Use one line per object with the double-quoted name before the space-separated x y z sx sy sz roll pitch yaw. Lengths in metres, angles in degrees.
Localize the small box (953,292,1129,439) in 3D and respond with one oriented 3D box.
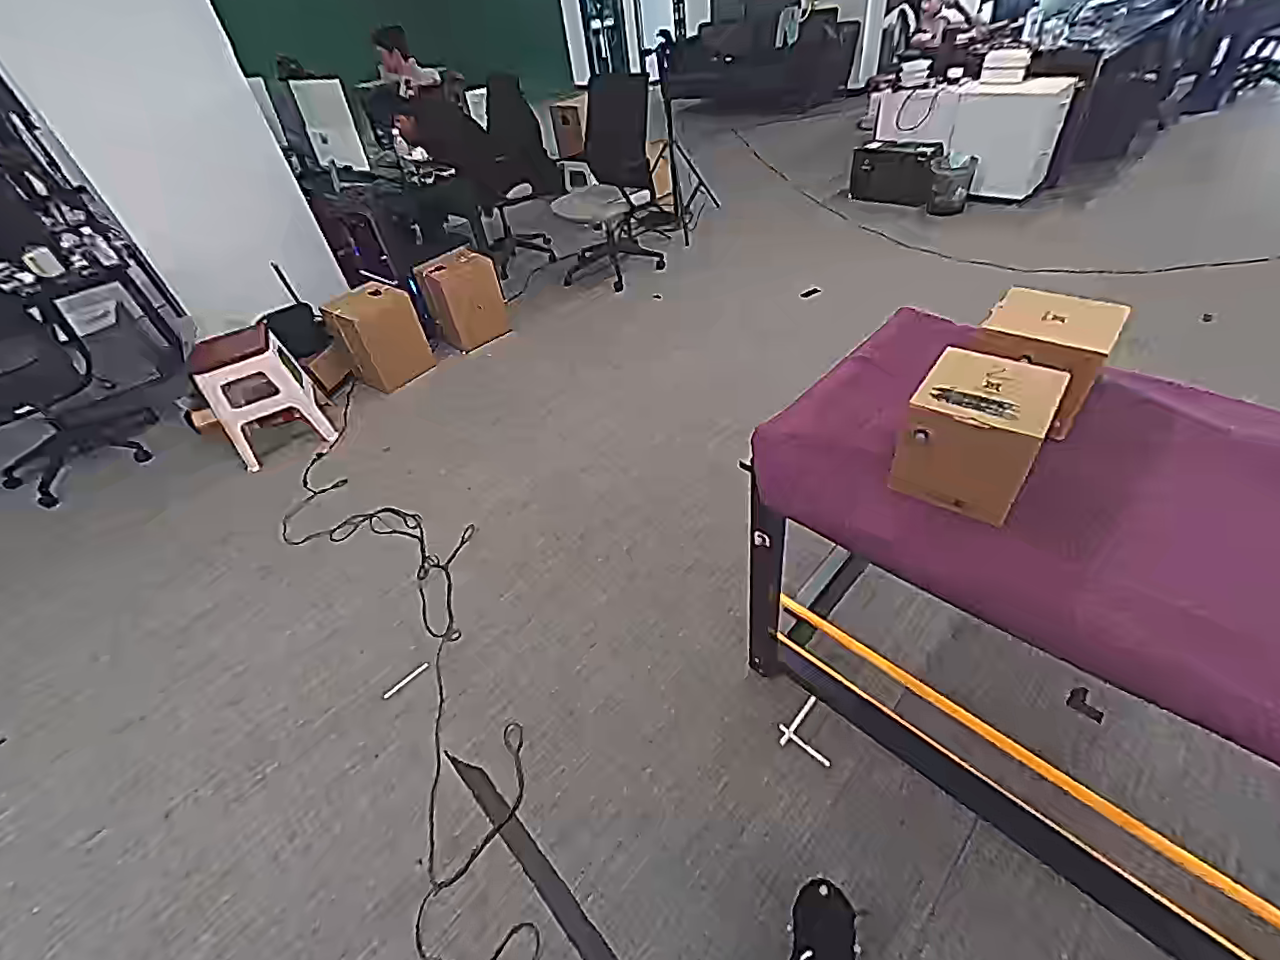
"small box" 0.674 -0.194 0.925 0.179 0.176 0.168 27 54 33
